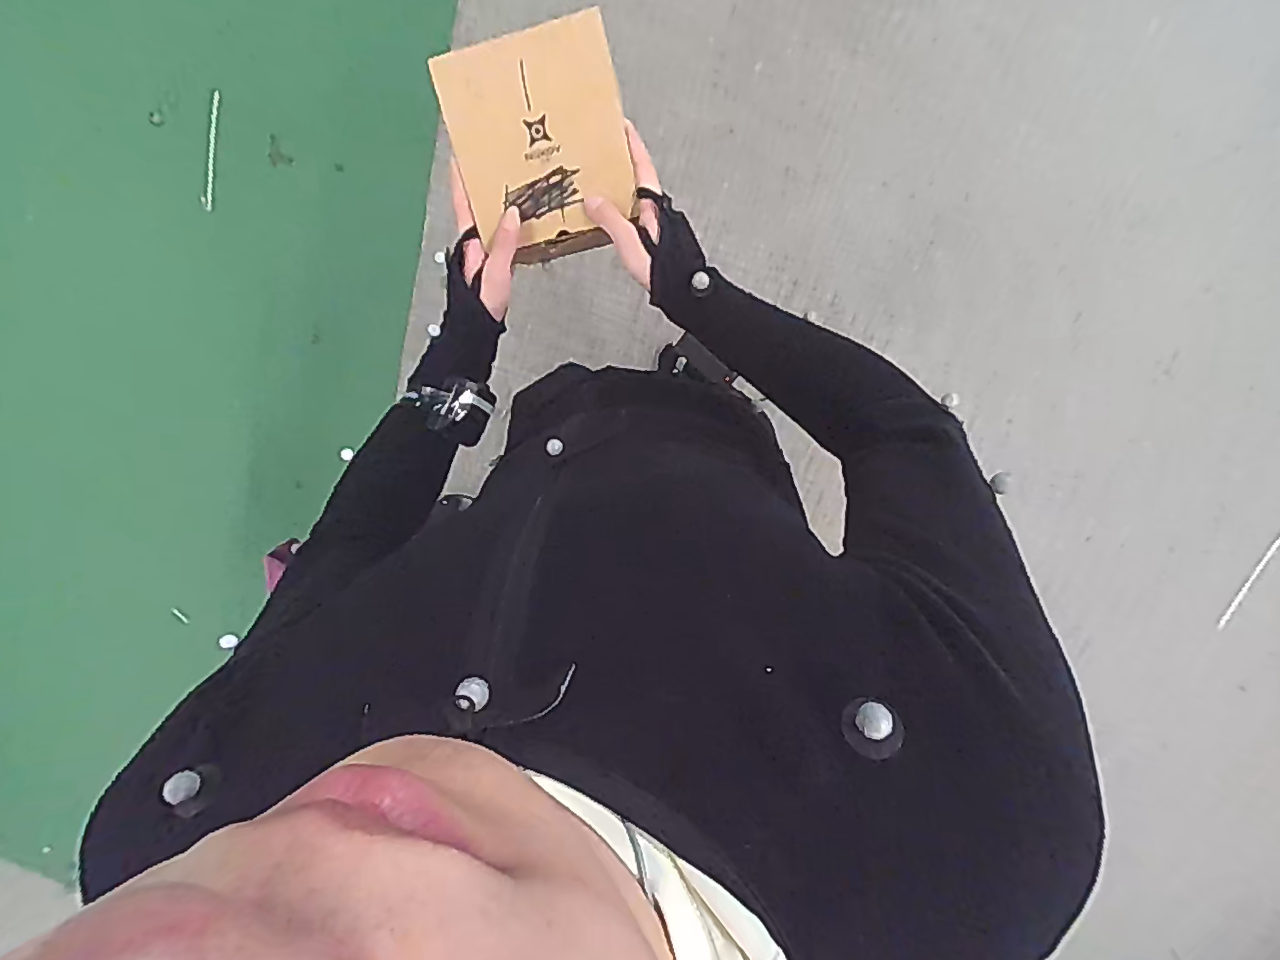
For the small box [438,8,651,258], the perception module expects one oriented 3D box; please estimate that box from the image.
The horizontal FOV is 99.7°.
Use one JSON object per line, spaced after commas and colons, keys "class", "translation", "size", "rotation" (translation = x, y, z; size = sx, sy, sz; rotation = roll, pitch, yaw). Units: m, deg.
{"class": "small box", "translation": [-0.084, -0.346, 0.583], "size": [0.168, 0.176, 0.179], "rotation": [-11, 108, 6]}
